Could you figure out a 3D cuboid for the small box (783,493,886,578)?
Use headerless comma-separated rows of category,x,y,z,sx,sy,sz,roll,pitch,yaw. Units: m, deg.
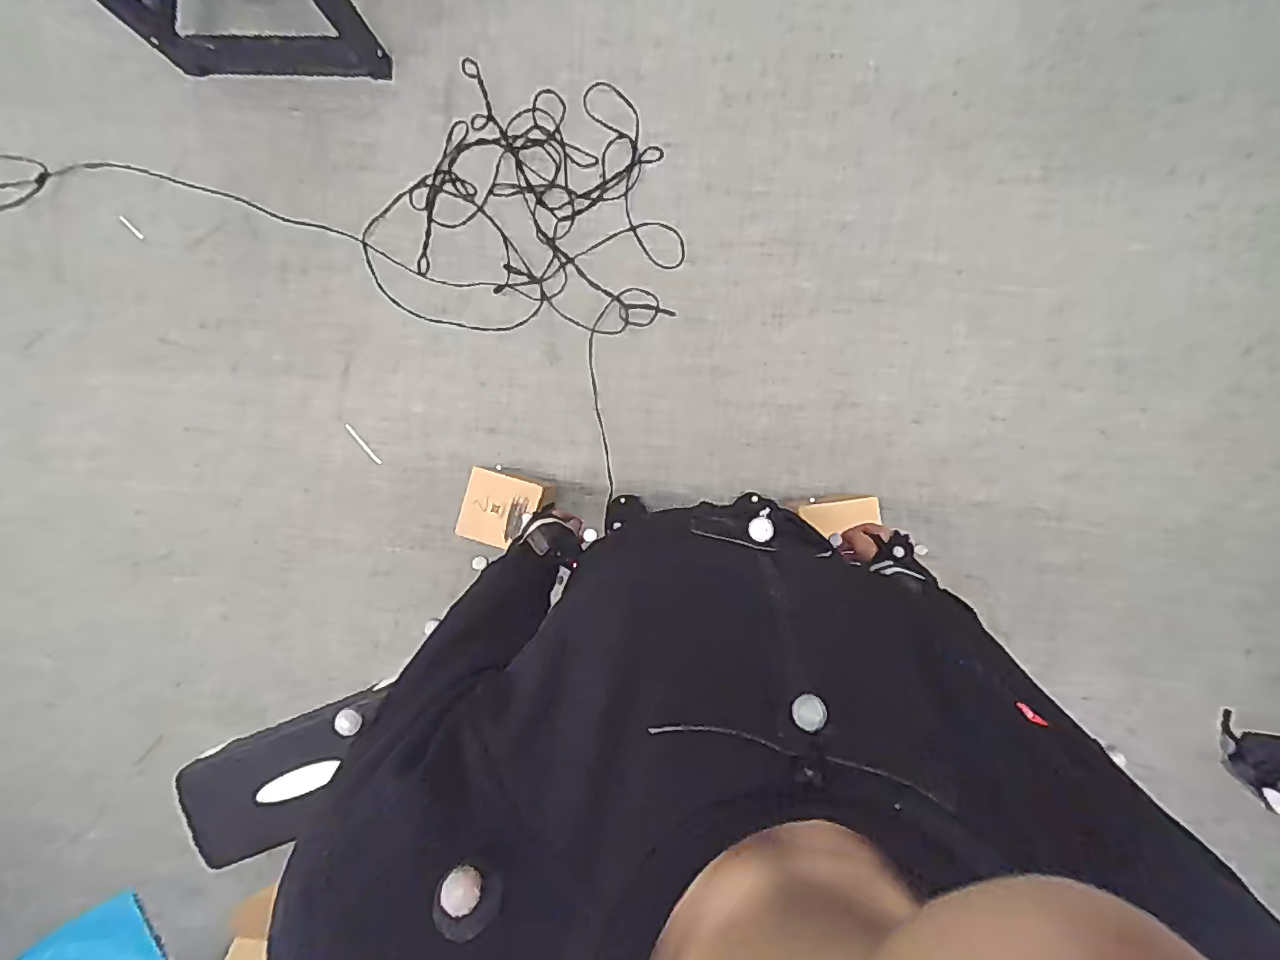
small box,0.451,0.124,1.273,0.179,0.176,0.168,-9,91,4
